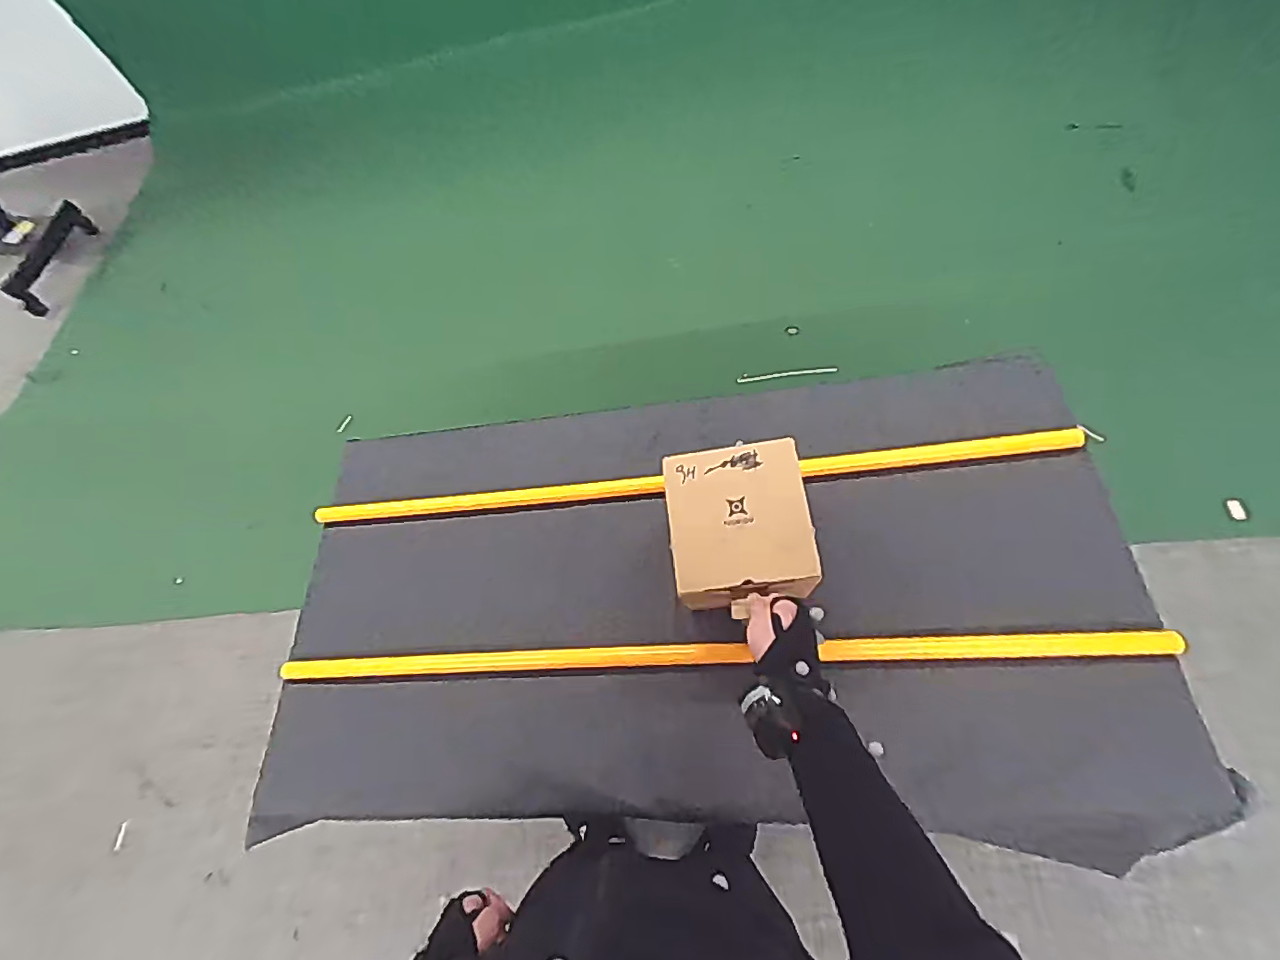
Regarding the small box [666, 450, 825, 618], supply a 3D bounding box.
[{"bbox_3d":[0.139,0.084,0.724,0.168,0.176,0.179,-12,67,8],"label":"small box"}]
